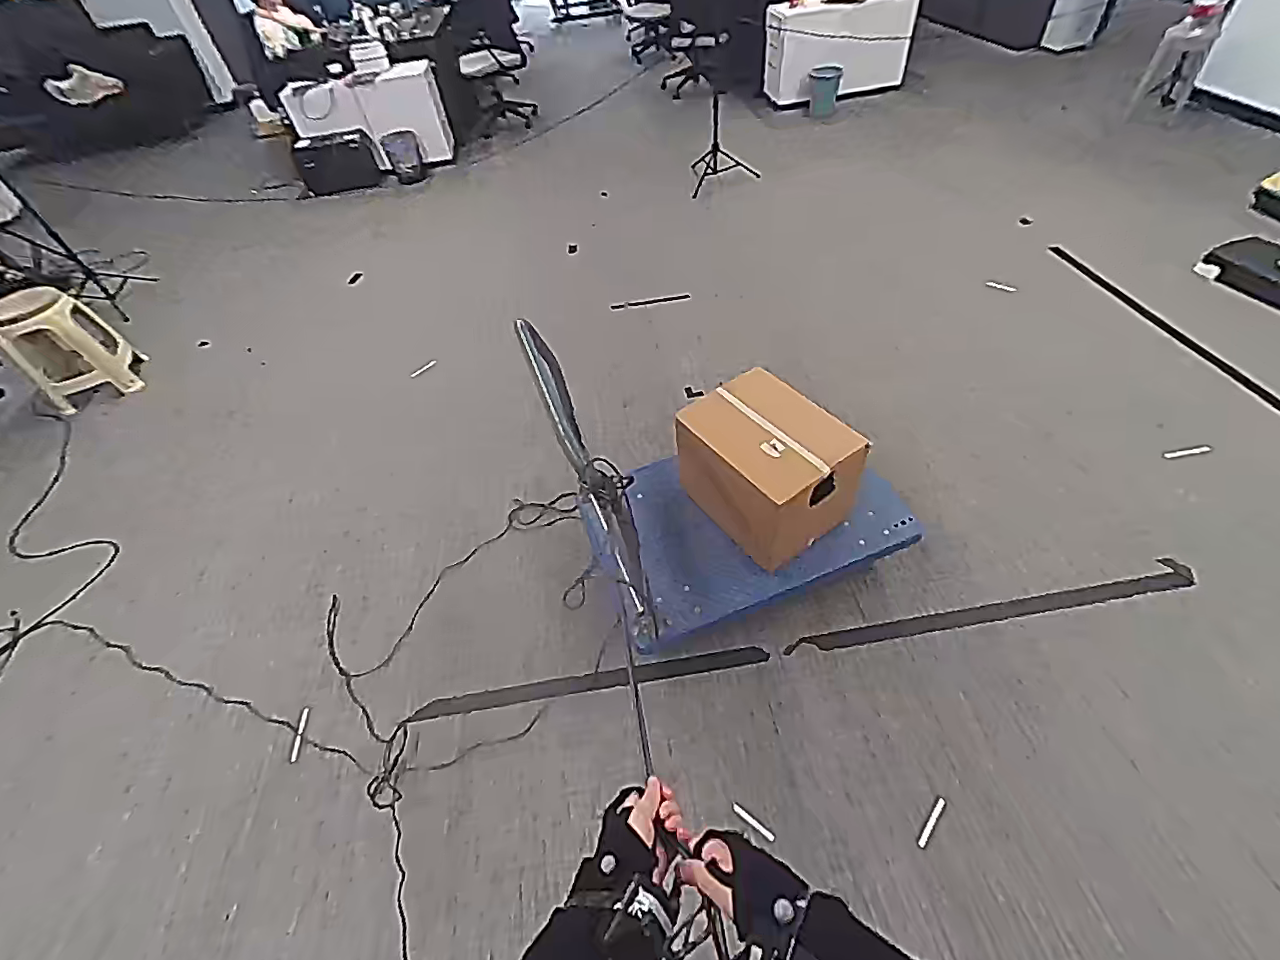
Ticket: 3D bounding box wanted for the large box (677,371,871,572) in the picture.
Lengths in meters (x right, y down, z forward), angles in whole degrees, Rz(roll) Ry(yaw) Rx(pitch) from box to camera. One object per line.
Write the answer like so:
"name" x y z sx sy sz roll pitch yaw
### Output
"large box" 0.344 -0.030 1.504 0.320 0.320 0.408 -32 54 -18
